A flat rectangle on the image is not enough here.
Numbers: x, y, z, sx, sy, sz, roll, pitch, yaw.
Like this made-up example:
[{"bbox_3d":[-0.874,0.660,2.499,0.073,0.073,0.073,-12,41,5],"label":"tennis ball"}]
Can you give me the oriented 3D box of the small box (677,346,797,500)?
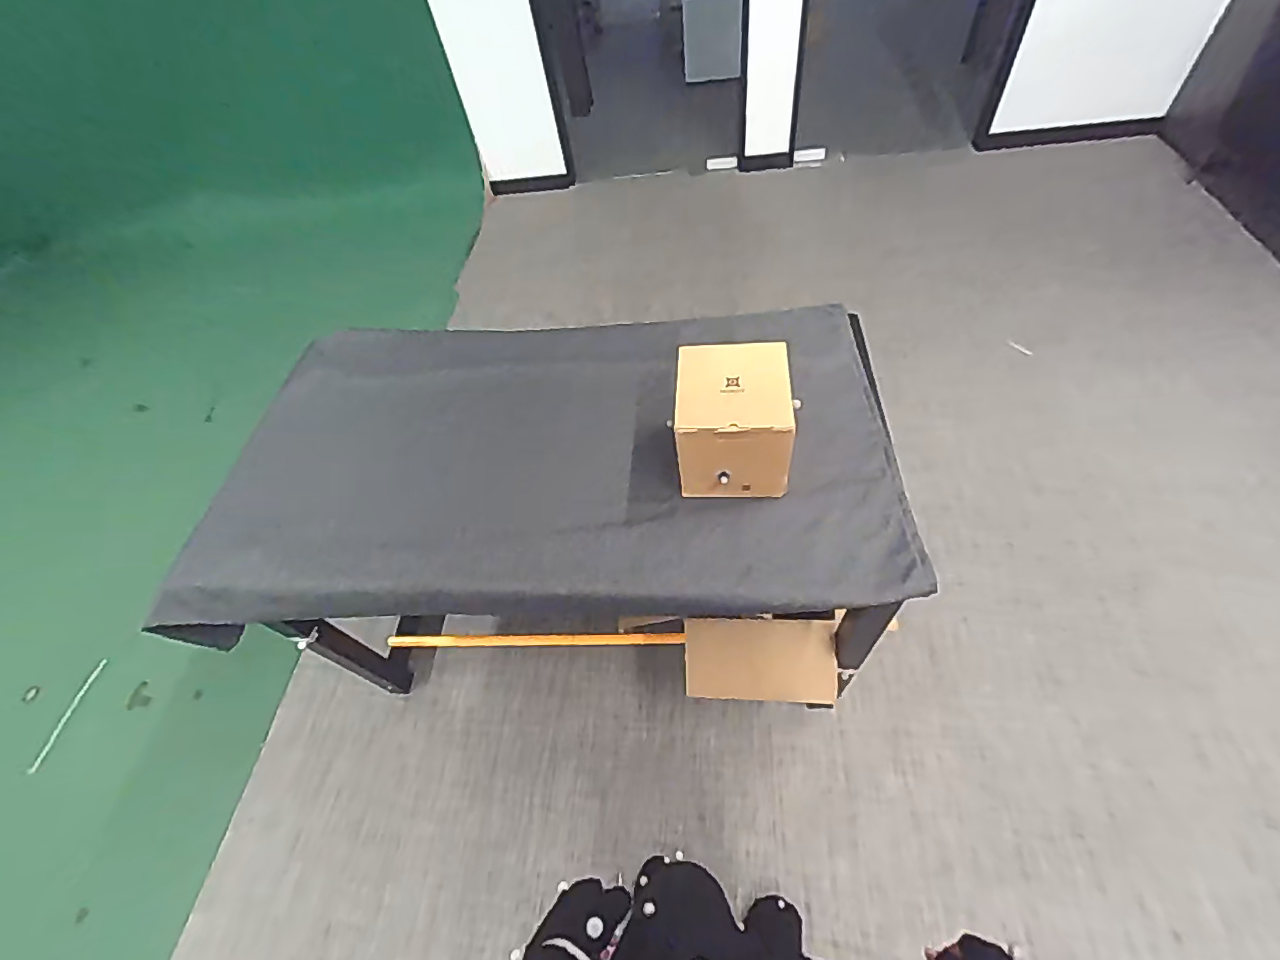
[{"bbox_3d":[0.148,-0.088,0.852,0.168,0.176,0.179,0,55,8],"label":"small box"}]
